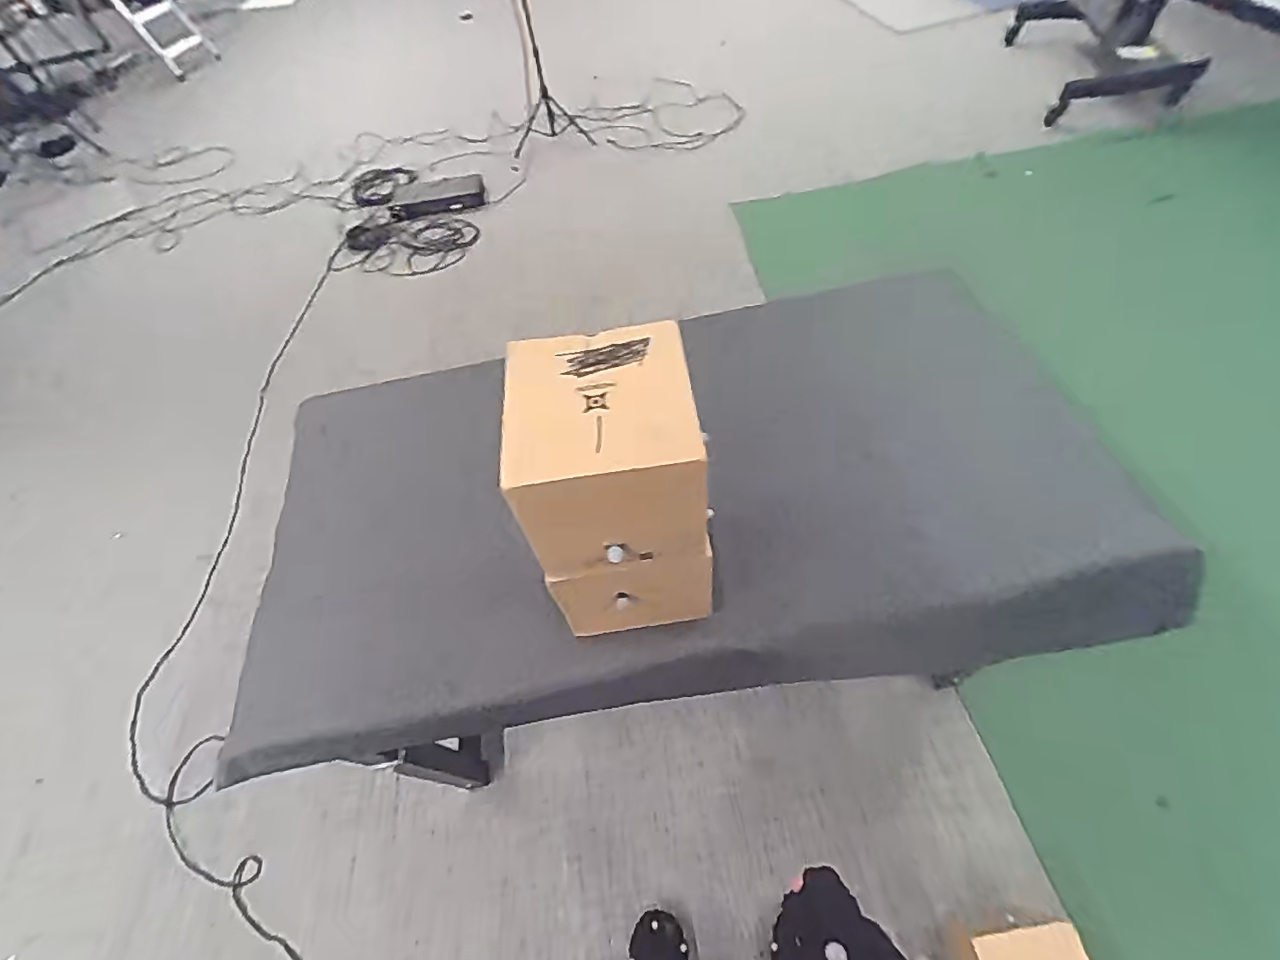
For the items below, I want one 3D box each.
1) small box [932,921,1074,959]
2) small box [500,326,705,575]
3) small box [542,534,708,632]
[{"bbox_3d":[0.642,0.880,0.927,0.179,0.176,0.168,-11,54,1],"label":"small box"},{"bbox_3d":[-0.030,-0.025,0.540,0.168,0.176,0.179,-7,54,2],"label":"small box"},{"bbox_3d":[-0.015,0.076,0.669,0.179,0.176,0.168,-8,54,1],"label":"small box"}]
